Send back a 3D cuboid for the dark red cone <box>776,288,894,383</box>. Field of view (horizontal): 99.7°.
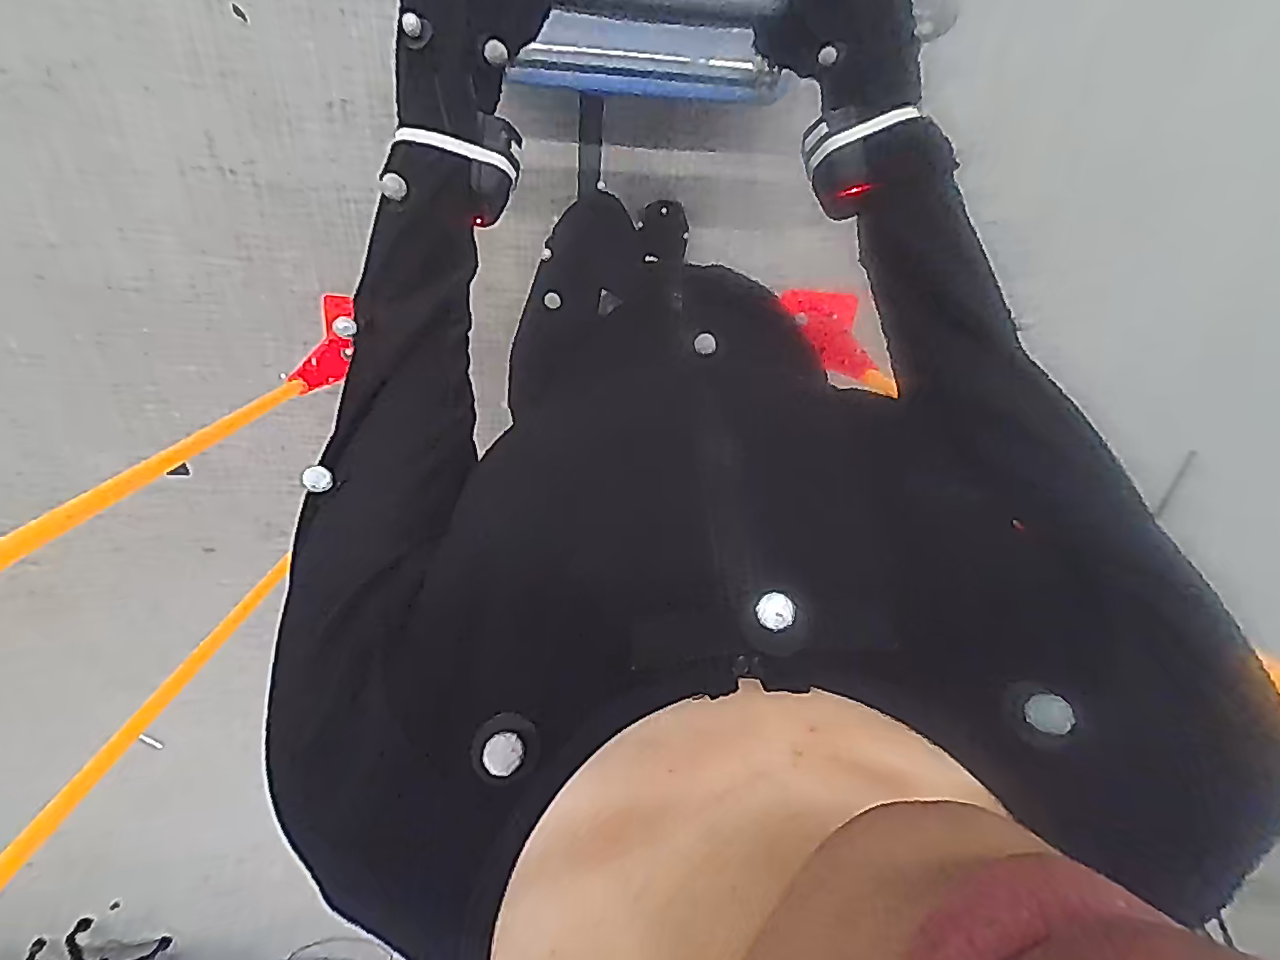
[{"bbox_3d":[0.462,-0.299,1.225,0.201,0.394,0.202,1,119,-5],"label":"dark red cone"}]

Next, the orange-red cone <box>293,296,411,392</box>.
[{"bbox_3d":[-0.672,-0.272,1.212,0.198,0.360,0.199,8,116,-8],"label":"orange-red cone"}]
